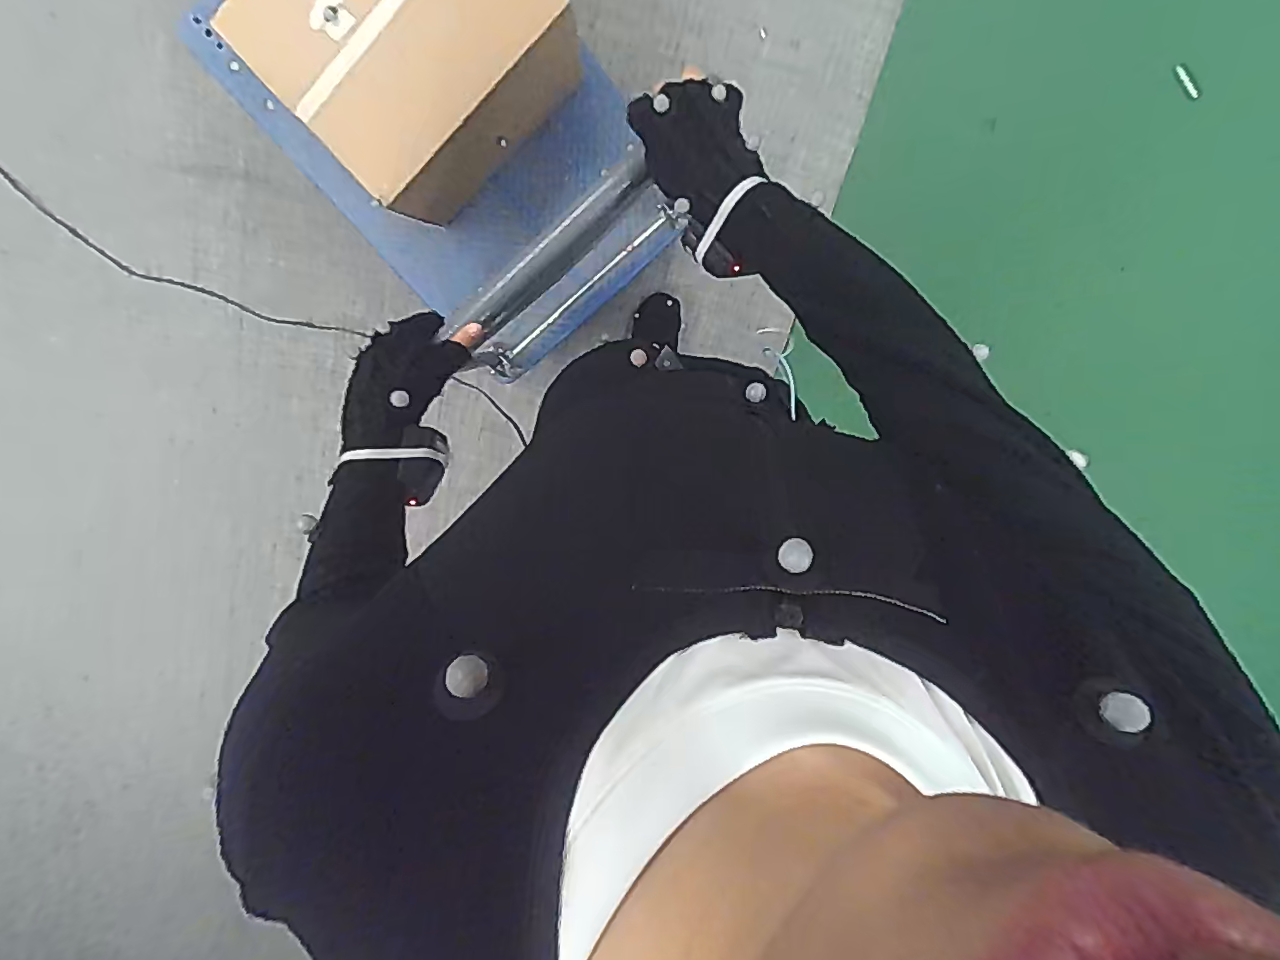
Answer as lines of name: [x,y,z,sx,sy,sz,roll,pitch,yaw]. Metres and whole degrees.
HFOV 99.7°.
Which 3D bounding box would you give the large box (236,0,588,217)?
large box: [-0.339,-0.723,0.912,0.408,0.320,0.320,-40,106,13]
